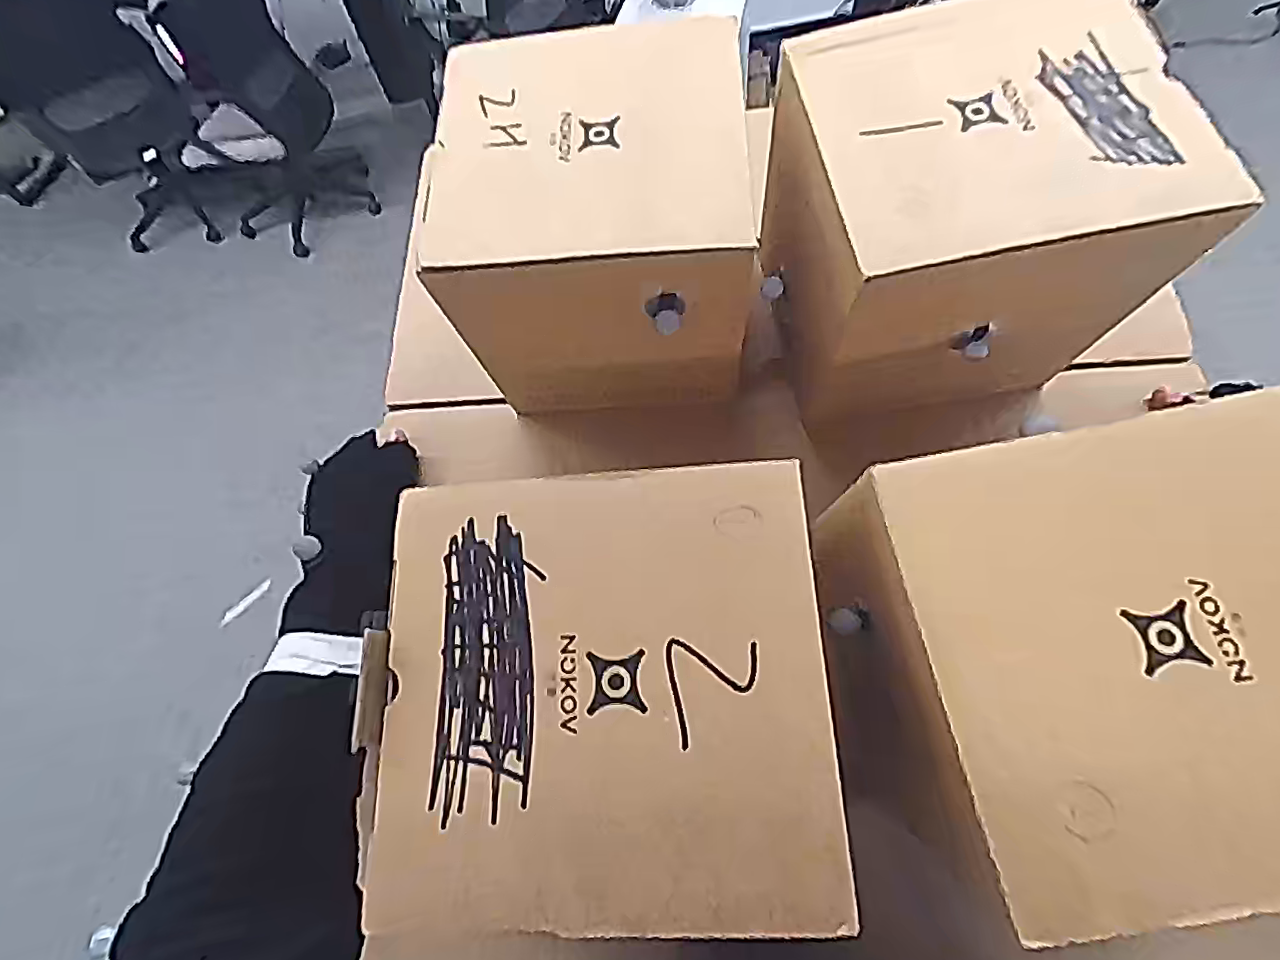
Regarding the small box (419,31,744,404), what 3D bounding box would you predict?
[{"bbox_3d":[-0.024,-0.164,0.383,0.179,0.176,0.168,-1,71,7],"label":"small box"}]
